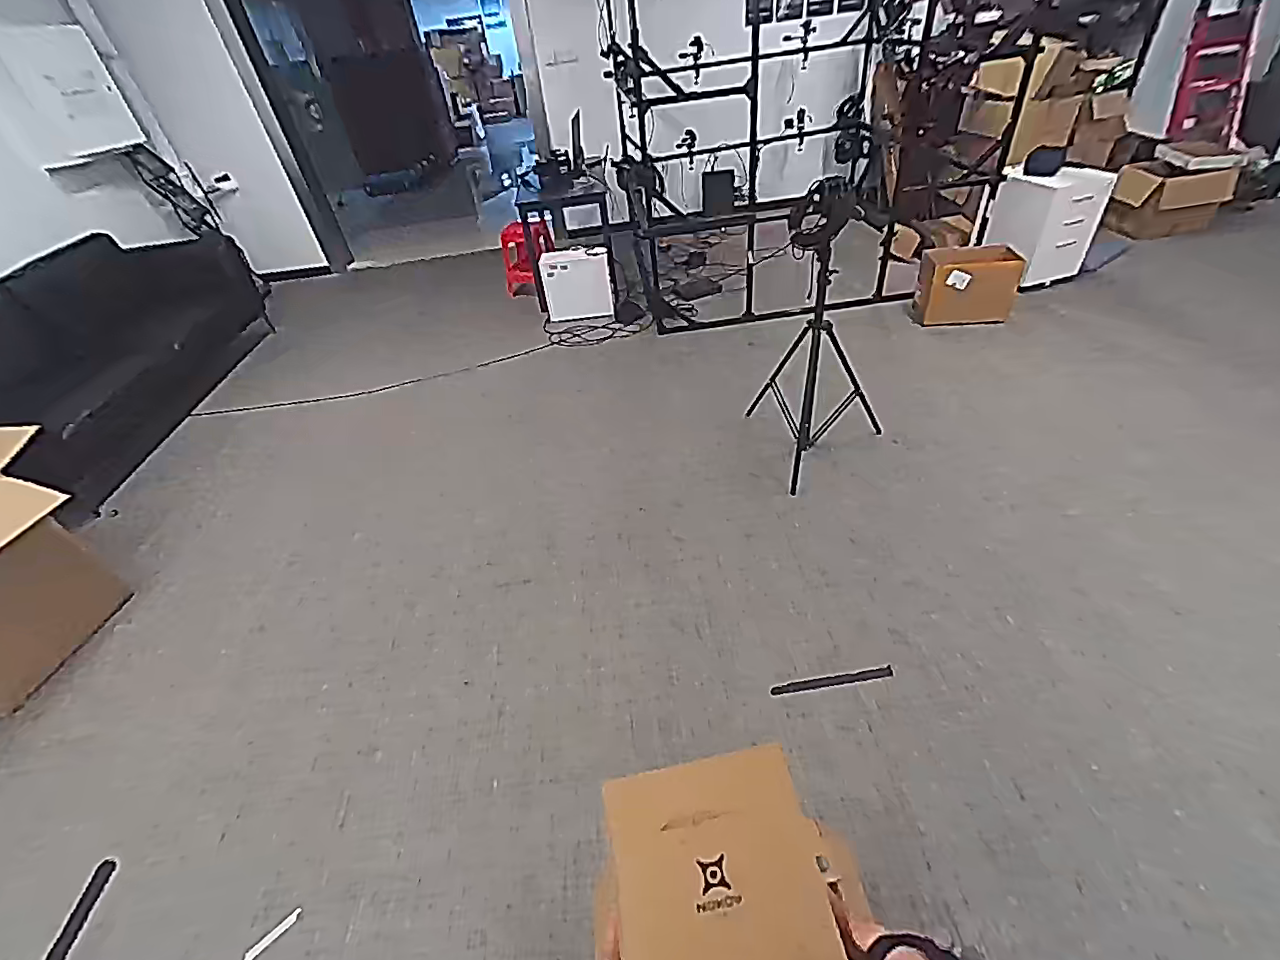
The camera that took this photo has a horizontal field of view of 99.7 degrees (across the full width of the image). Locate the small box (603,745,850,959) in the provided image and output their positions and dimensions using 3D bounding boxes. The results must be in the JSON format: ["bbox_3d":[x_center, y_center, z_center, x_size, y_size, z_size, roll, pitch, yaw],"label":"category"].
[{"bbox_3d":[0.071,0.363,0.484,0.168,0.176,0.179,-13,51,-2],"label":"small box"}]
